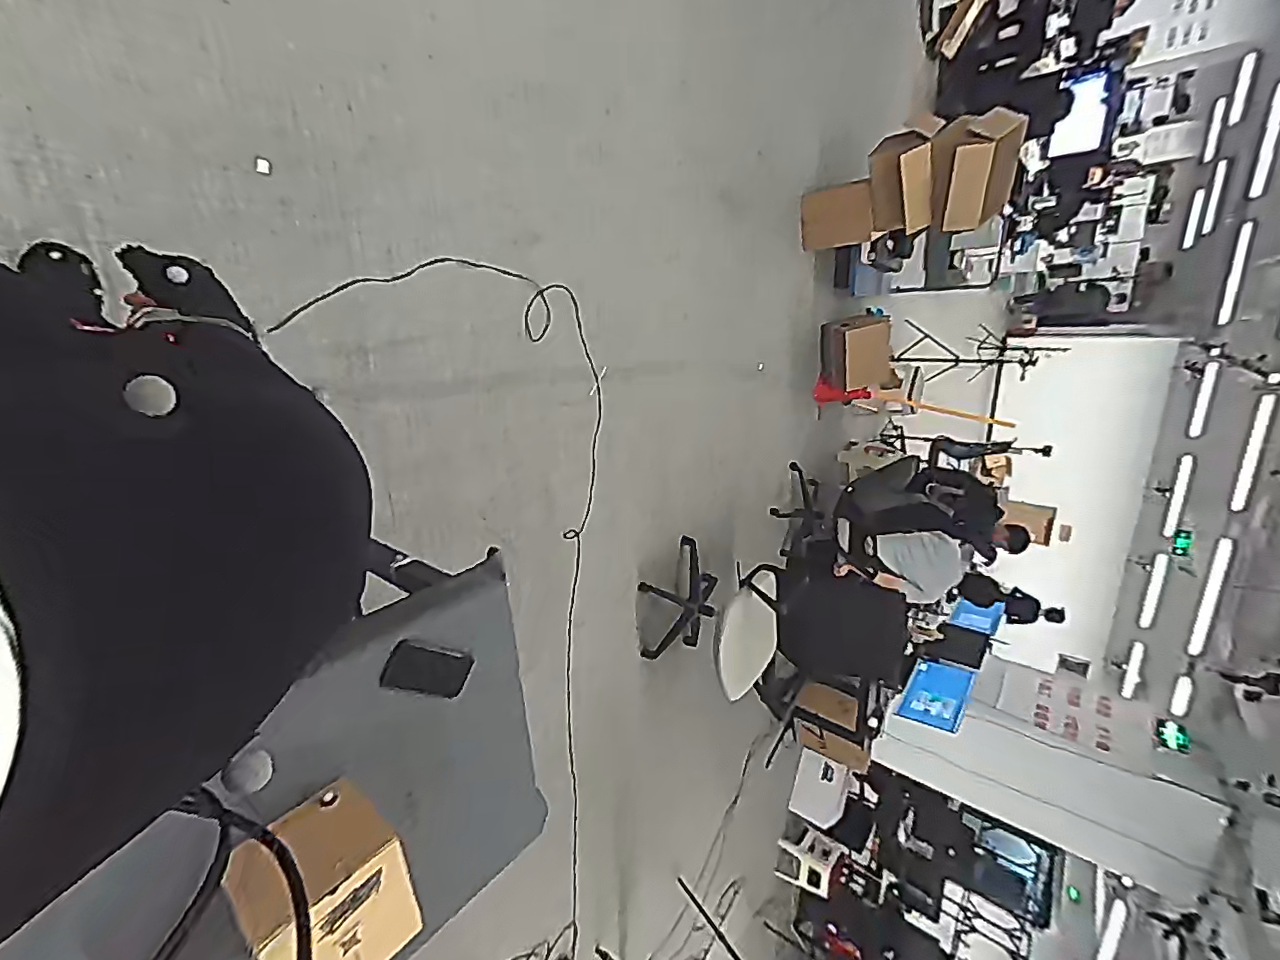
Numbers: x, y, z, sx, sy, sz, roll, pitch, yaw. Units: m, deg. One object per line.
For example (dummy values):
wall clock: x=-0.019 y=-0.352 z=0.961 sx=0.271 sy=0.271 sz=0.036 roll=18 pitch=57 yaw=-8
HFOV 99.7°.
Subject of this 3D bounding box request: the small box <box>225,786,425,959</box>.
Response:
small box: x=-0.424 y=0.554 z=0.732 sx=0.168 sy=0.176 sz=0.179 roll=-25 pitch=119 yaw=-46
